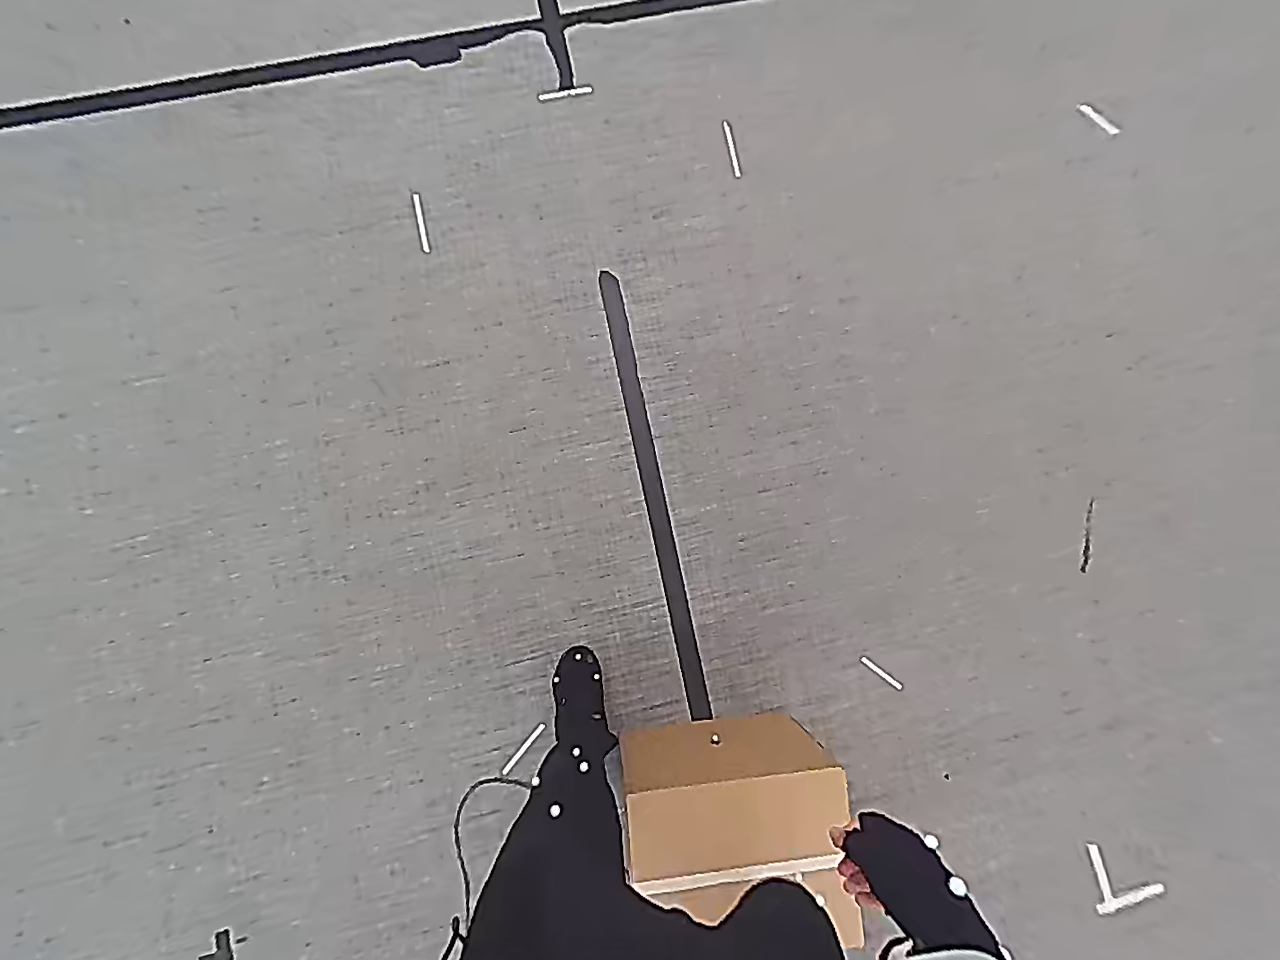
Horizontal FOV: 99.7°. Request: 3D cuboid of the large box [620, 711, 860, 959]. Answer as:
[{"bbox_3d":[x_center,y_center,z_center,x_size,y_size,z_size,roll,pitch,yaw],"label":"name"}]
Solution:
[{"bbox_3d":[0.175,0.705,1.110,0.408,0.320,0.320,-5,85,-5],"label":"large box"}]
